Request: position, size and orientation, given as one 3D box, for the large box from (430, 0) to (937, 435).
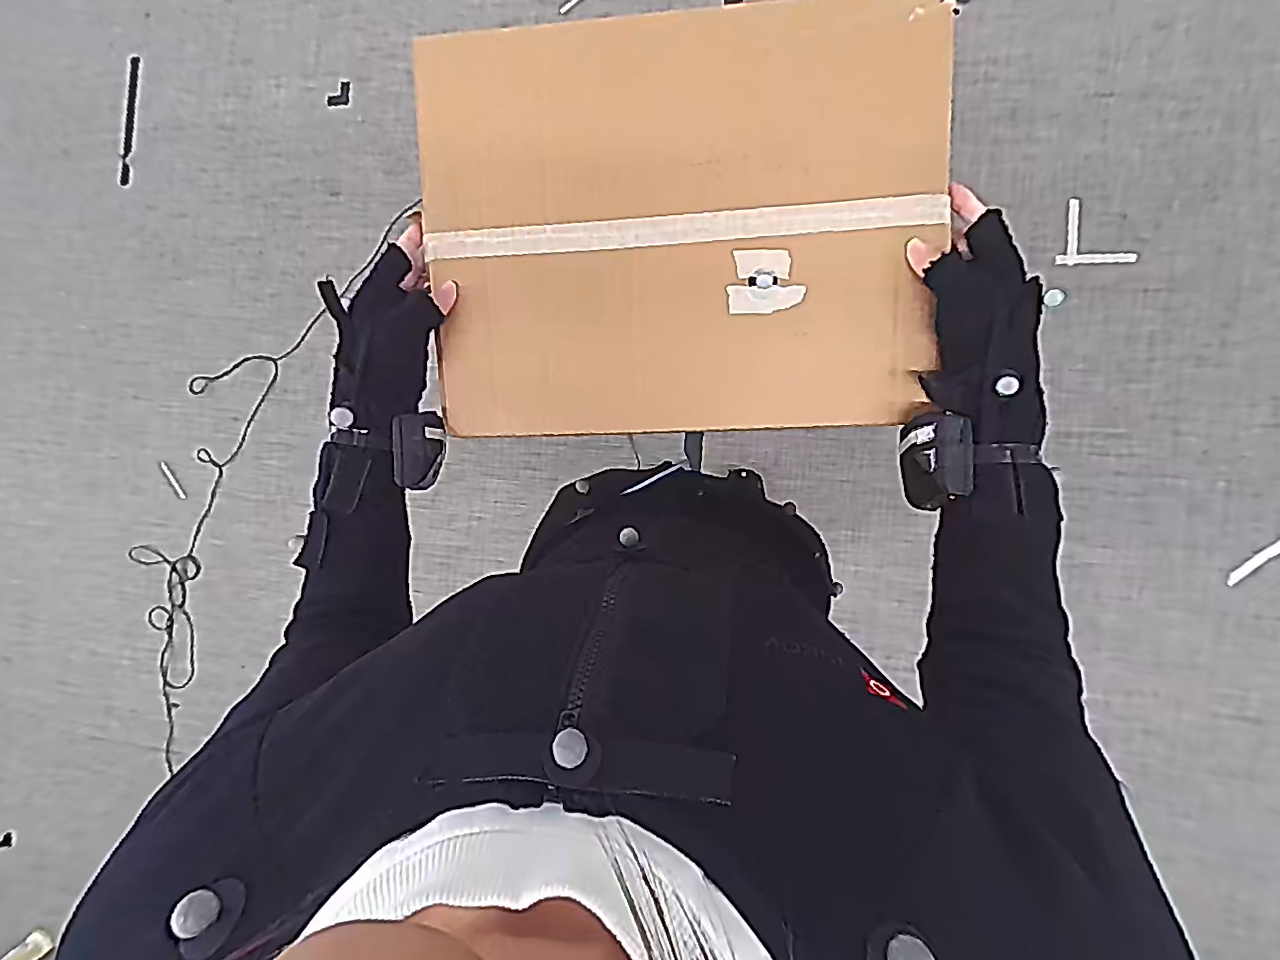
[{"bbox_3d":[0.043,-0.218,0.585,0.408,0.320,0.320,-1,98,6],"label":"large box"}]
